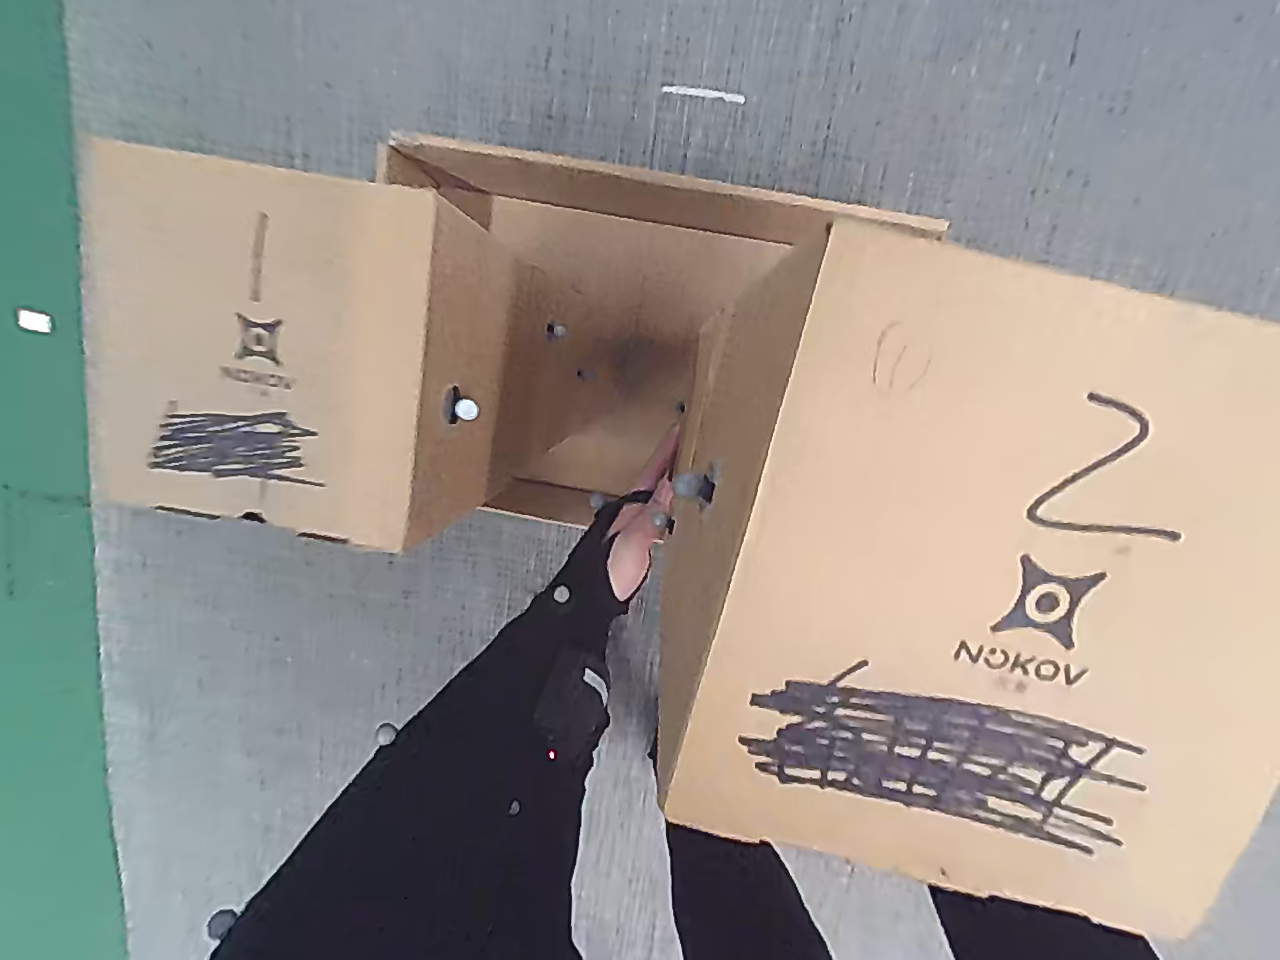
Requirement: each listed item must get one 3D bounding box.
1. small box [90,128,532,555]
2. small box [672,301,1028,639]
[{"bbox_3d":[-0.174,-0.075,0.335,0.168,0.176,0.179,10,101,1],"label":"small box"},{"bbox_3d":[0.117,-0.018,0.386,0.168,0.176,0.179,10,104,-1],"label":"small box"}]
